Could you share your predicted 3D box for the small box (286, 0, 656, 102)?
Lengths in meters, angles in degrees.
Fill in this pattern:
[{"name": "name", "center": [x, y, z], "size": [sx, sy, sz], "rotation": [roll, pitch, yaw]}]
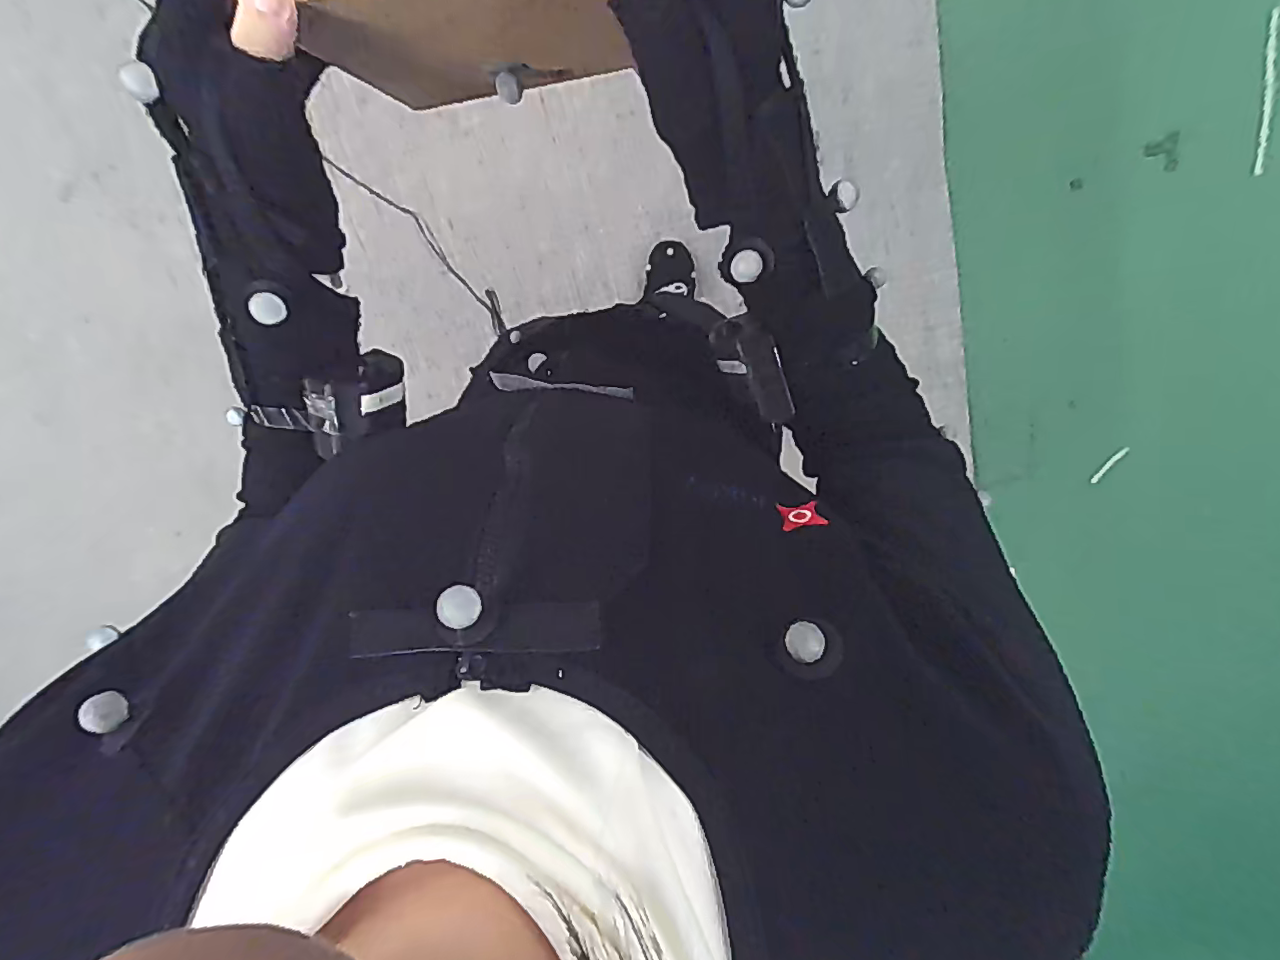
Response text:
[{"name": "small box", "center": [-0.084, -0.306, 0.243], "size": [0.168, 0.176, 0.179], "rotation": [-8, 113, 5]}]
